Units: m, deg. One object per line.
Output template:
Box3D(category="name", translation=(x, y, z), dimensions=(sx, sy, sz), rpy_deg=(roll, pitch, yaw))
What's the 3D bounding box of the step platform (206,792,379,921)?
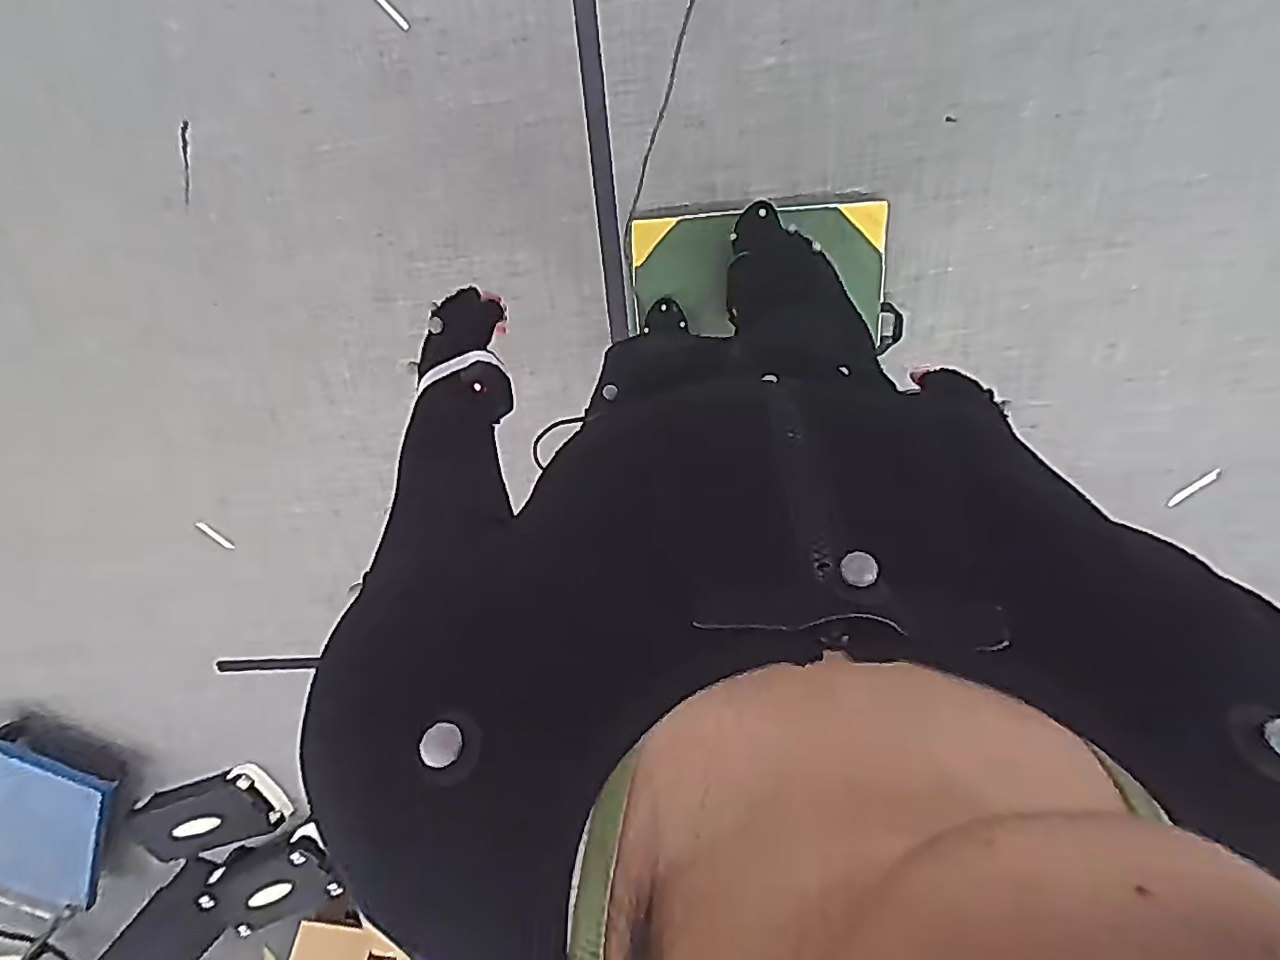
Box3D(category="step platform", translation=(-1.428, 1.552, 2.219), dimensions=(0.684, 0.204, 0.286), rpy_deg=(-32, 106, 15))
